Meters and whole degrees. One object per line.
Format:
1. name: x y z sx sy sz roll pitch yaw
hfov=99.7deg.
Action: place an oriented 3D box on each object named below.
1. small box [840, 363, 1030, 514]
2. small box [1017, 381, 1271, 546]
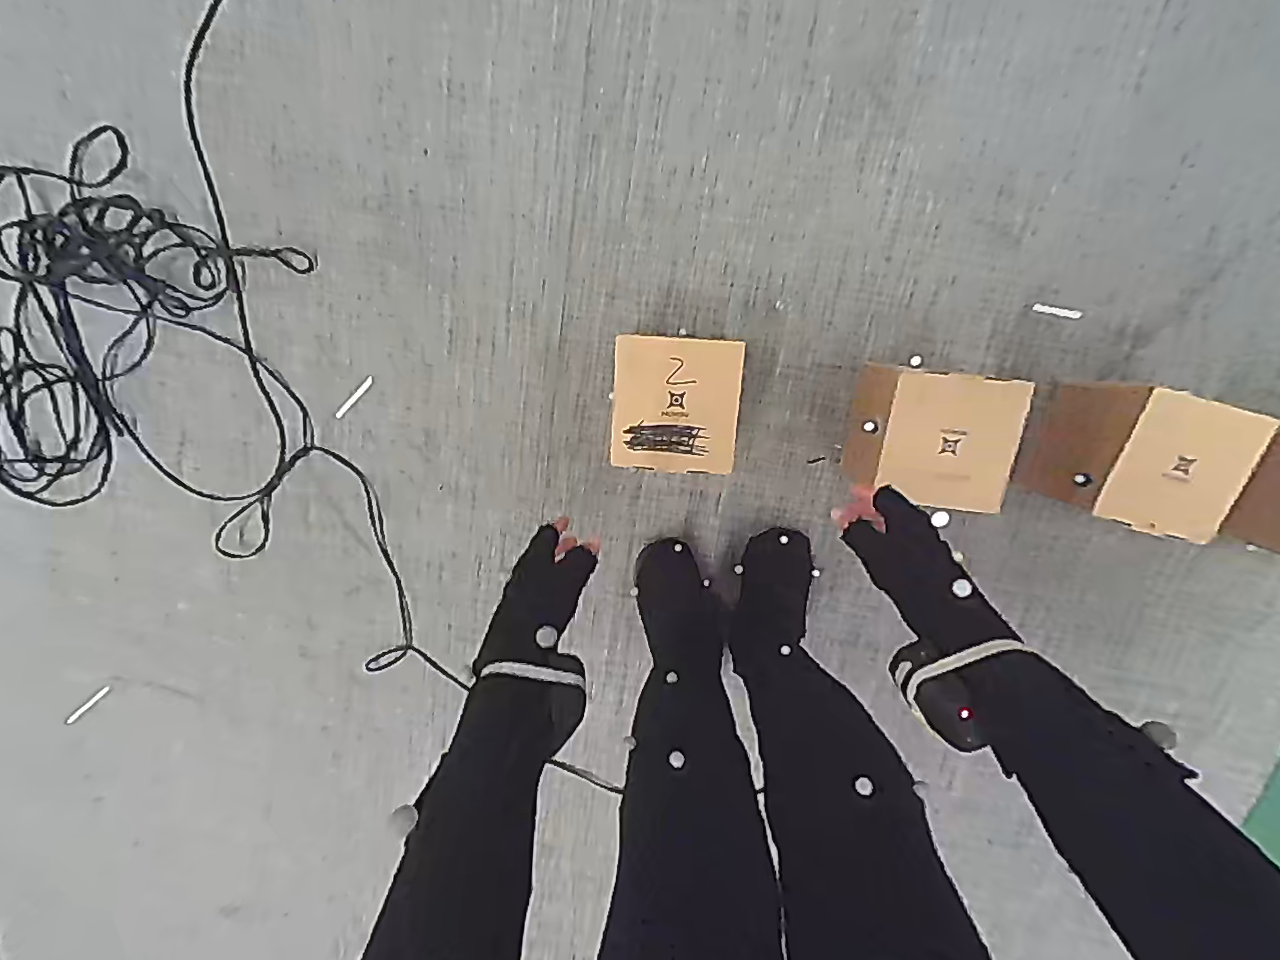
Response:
1. small box: 0.401 -0.069 0.771 0.168 0.176 0.179 7 107 3
2. small box: 0.685 -0.034 0.764 0.168 0.176 0.179 15 106 -1
